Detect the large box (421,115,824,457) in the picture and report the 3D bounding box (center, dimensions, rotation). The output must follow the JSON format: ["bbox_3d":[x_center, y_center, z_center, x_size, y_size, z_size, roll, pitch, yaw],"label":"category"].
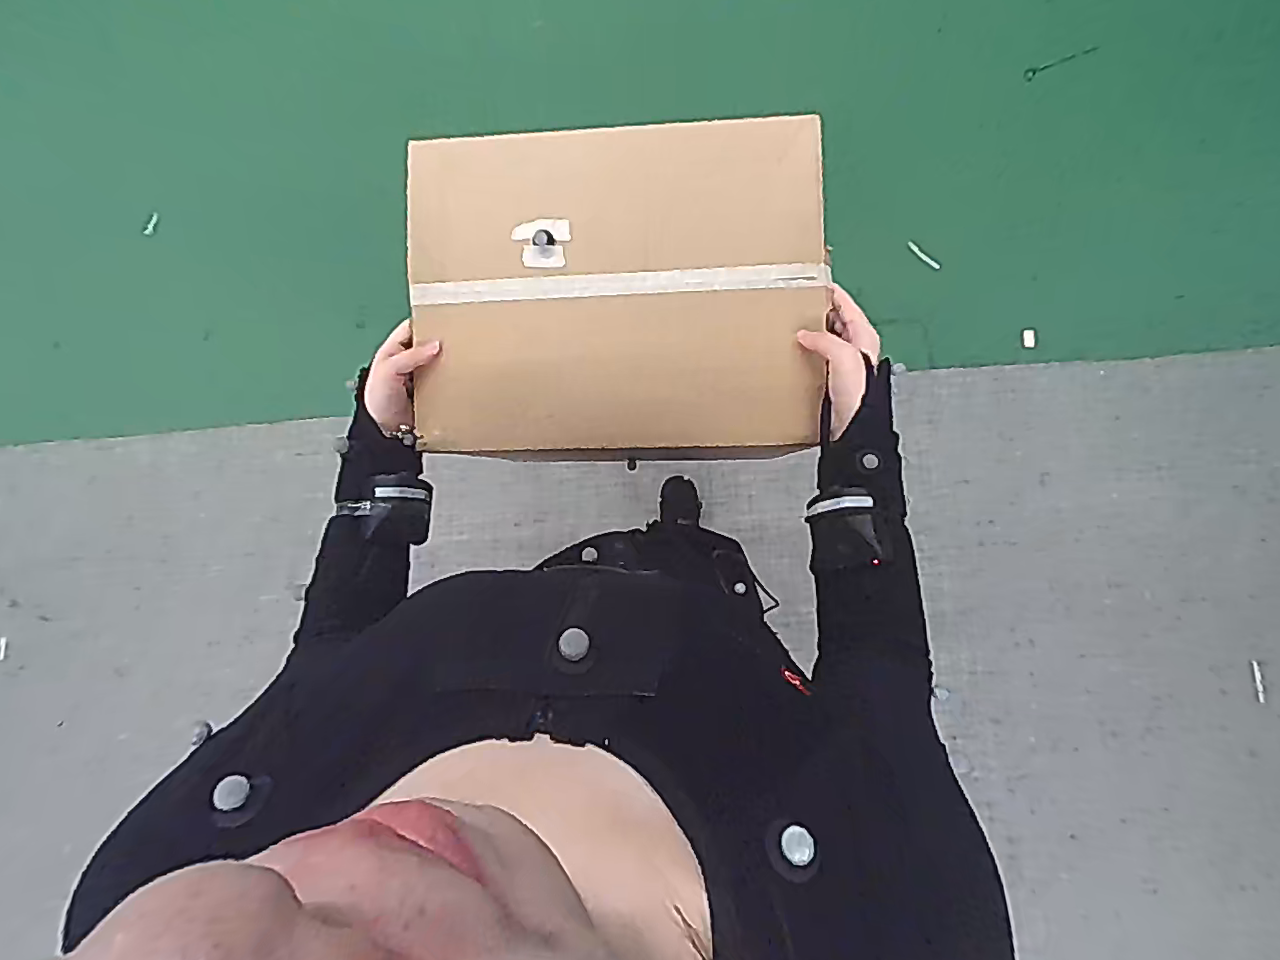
[{"bbox_3d":[-0.008,-0.193,0.687,0.408,0.320,0.320,-1,89,6],"label":"large box"}]
